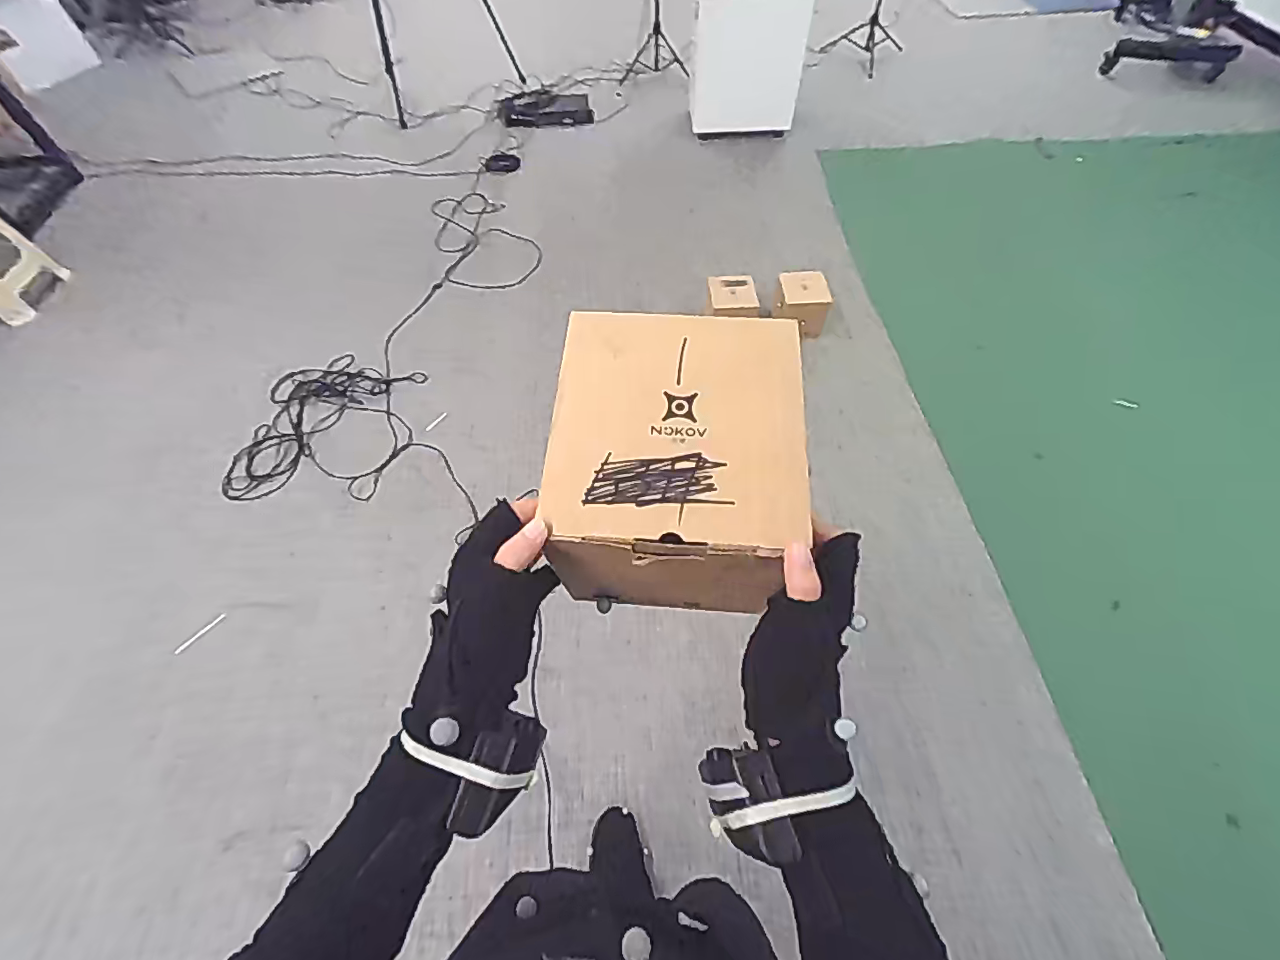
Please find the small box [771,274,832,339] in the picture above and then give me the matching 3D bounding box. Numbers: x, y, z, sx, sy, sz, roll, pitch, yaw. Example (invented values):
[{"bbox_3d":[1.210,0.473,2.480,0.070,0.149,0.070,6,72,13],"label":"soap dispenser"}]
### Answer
[{"bbox_3d":[0.600,-0.646,2.029,0.168,0.176,0.179,-3,57,-1],"label":"small box"}]
